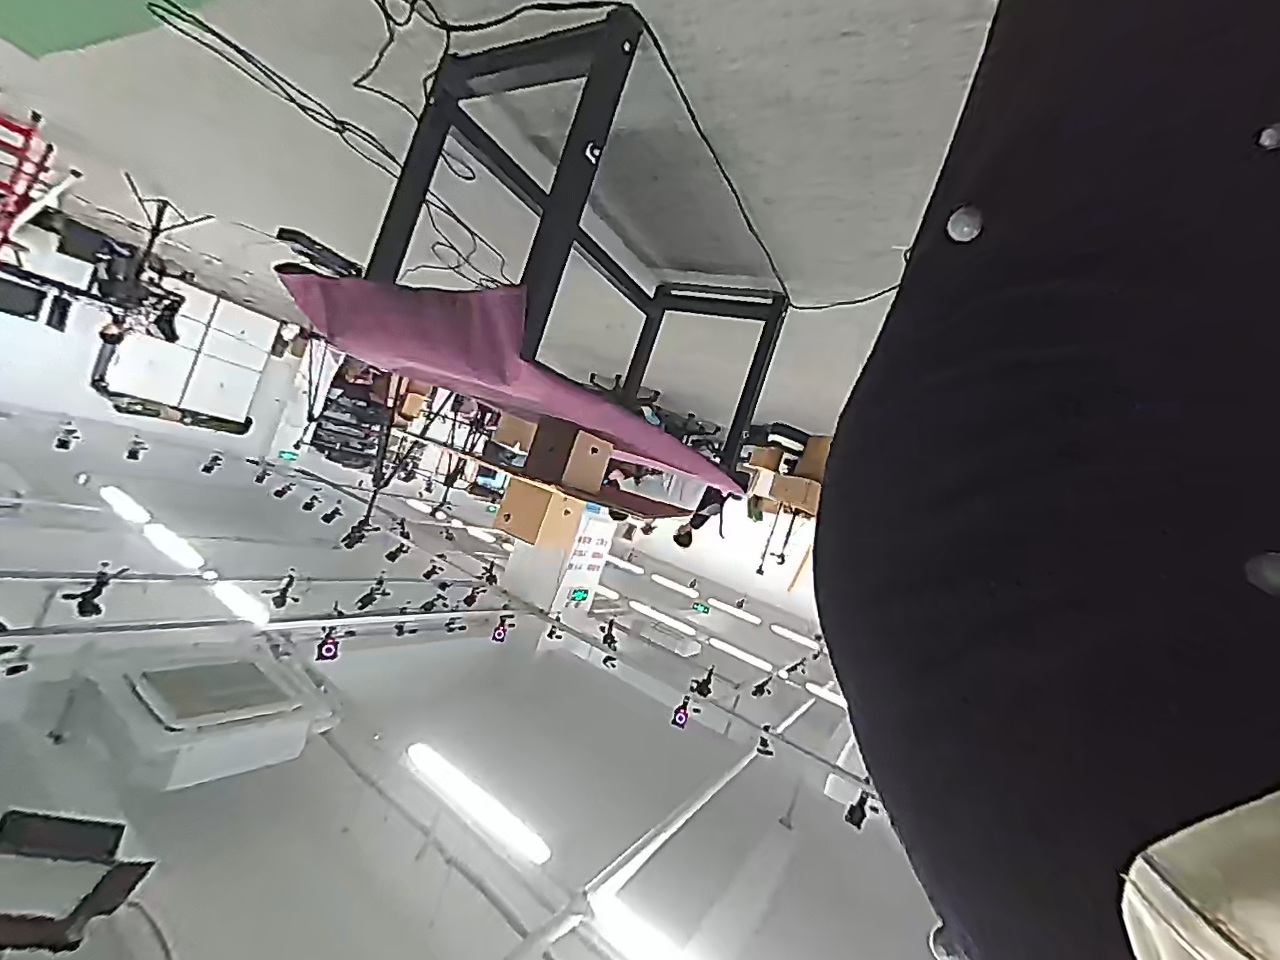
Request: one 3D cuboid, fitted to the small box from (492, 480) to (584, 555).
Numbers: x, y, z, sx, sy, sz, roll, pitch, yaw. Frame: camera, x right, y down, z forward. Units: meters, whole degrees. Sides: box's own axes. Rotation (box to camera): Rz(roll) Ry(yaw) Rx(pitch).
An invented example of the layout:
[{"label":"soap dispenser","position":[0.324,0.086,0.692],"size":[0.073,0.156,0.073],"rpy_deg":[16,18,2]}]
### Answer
[{"label":"small box","position":[-0.295,0.107,1.585],"size":[0.179,0.176,0.168],"rpy_deg":[17,176,31]}]
